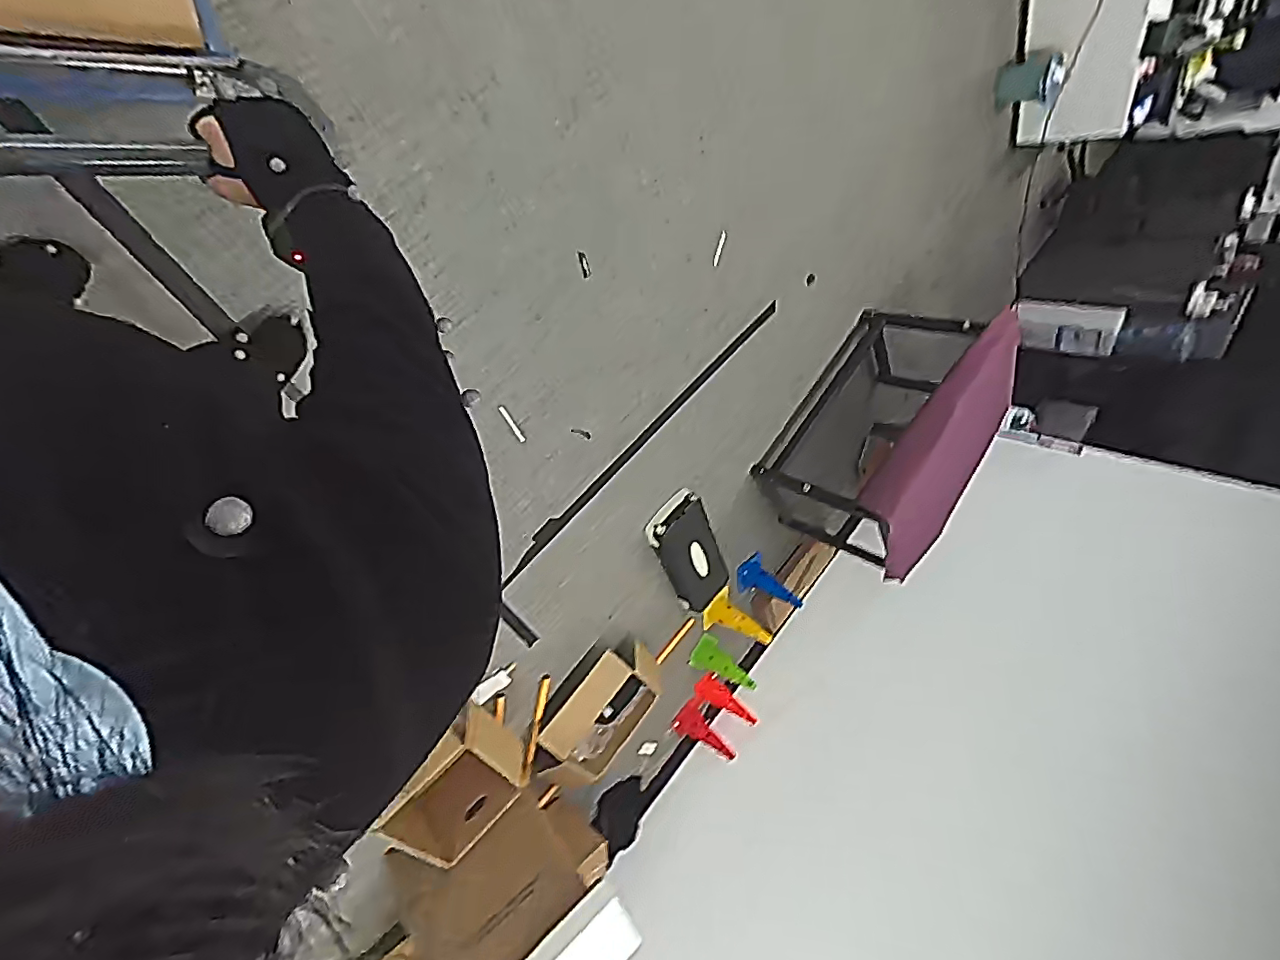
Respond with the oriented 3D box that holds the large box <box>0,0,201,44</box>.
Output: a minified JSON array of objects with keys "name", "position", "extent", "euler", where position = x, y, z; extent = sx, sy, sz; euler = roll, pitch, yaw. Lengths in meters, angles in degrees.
[{"name":"large box","position":[-0.818,-0.702,0.602],"extent":[0.408,0.320,0.320],"euler":[-26,135,-36]}]
